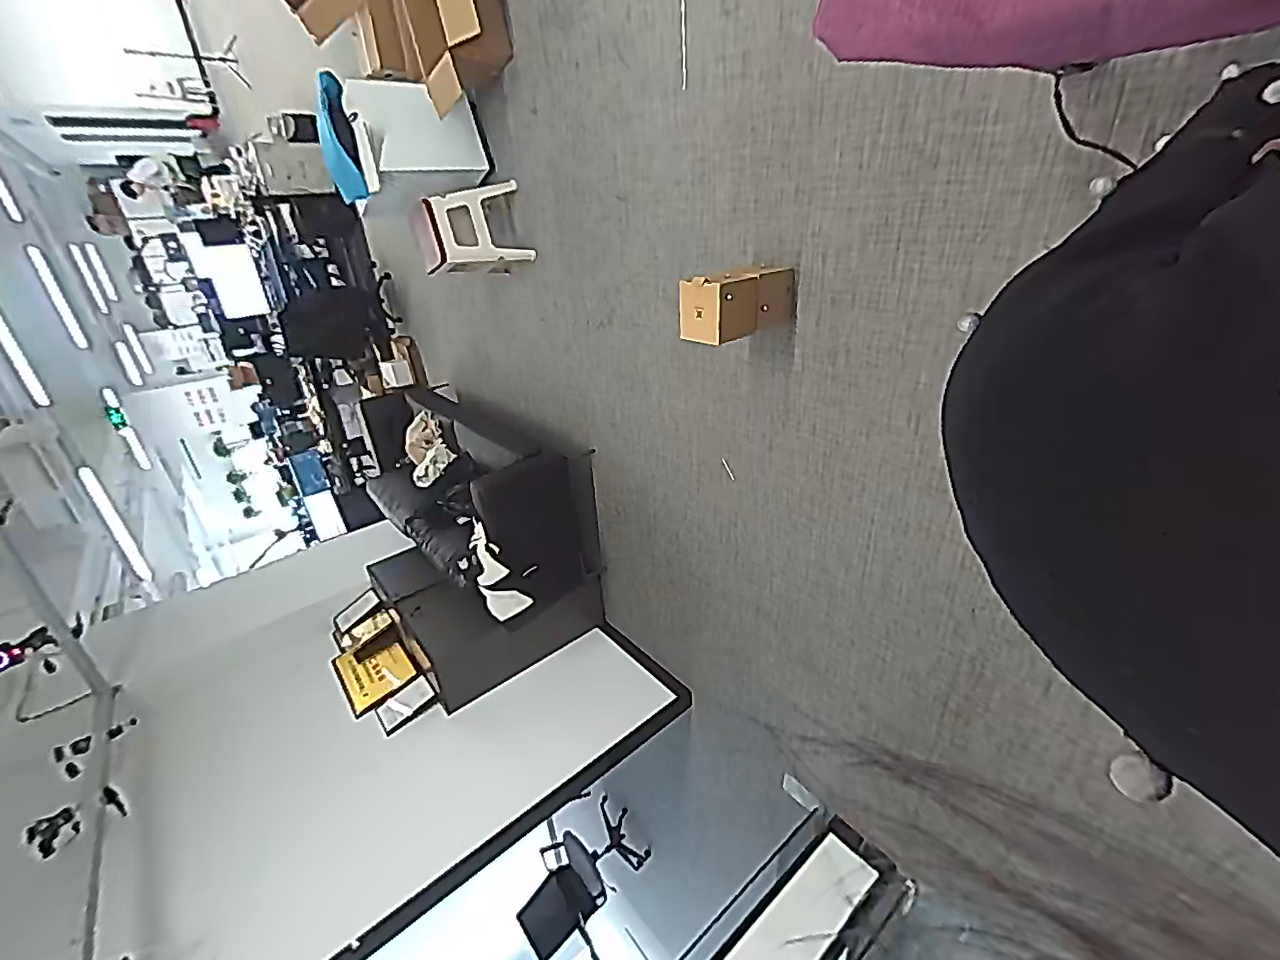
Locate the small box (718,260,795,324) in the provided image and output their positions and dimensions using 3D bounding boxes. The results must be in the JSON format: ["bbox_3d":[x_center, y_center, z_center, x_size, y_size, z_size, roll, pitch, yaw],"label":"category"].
[{"bbox_3d":[0.366,-0.603,1.720,0.179,0.176,0.168,27,130,45],"label":"small box"}]

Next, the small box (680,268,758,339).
[{"bbox_3d":[0.240,-0.539,1.638,0.168,0.176,0.179,27,129,45],"label":"small box"}]
